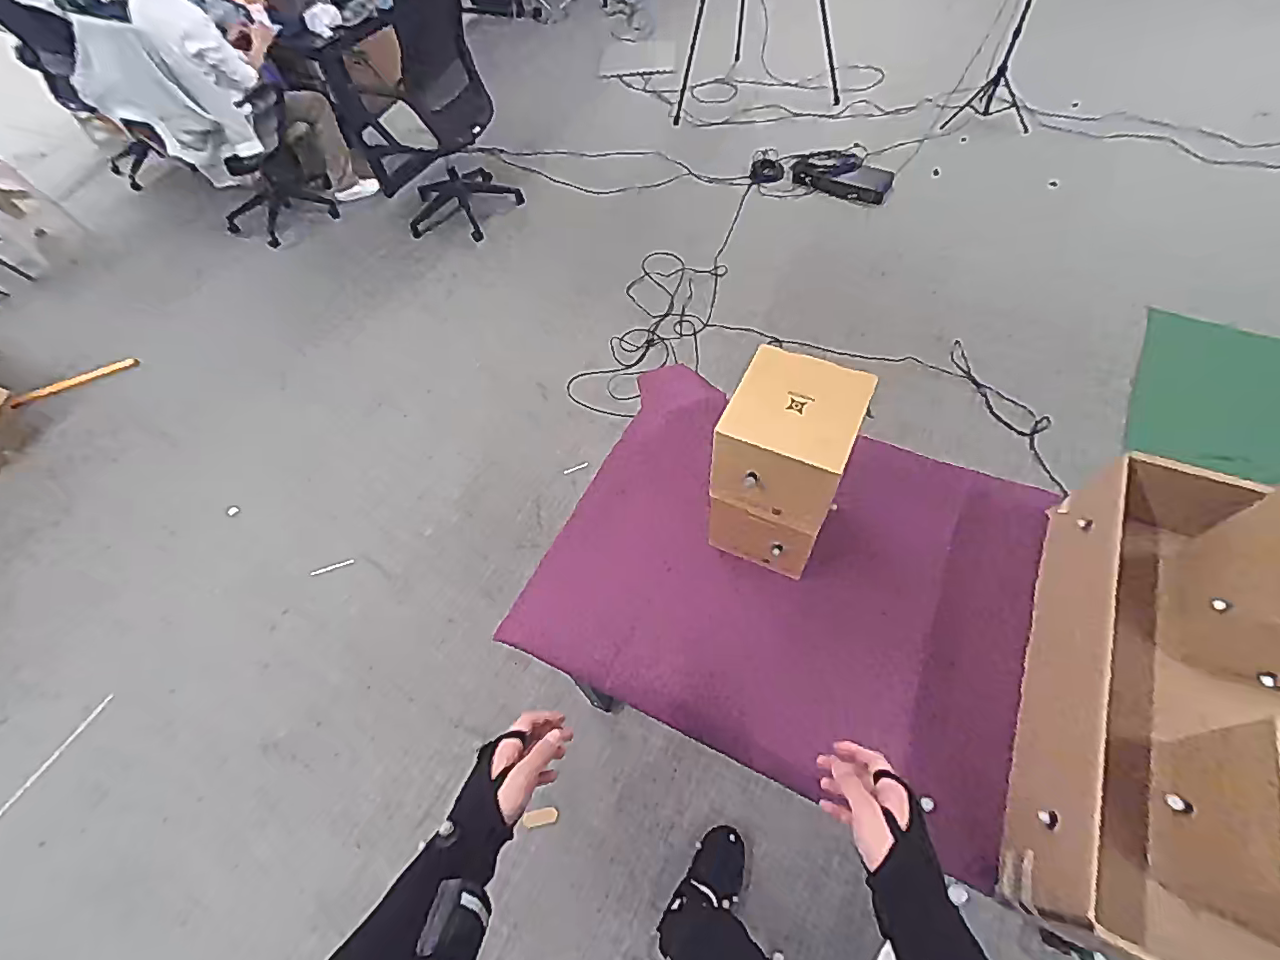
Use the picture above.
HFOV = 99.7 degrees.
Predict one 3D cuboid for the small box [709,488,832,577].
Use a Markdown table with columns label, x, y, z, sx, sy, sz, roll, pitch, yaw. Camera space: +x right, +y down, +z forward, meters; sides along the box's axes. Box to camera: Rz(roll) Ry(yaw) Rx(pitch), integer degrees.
| label | x | y | z | sx | sy | sz | roll | pitch | yaw |
| --- | --- | --- | --- | --- | --- | --- | --- | --- | --- |
| small box | 0.223 | 0.035 | 0.905 | 0.168 | 0.176 | 0.179 | 22 | 61 | 18 |

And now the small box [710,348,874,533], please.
| label | x | y | z | sx | sy | sz | roll | pitch | yaw |
| --- | --- | --- | --- | --- | --- | --- | --- | --- | --- |
| small box | 0.208 | -0.051 | 0.769 | 0.168 | 0.176 | 0.179 | 21 | 61 | 18 |
